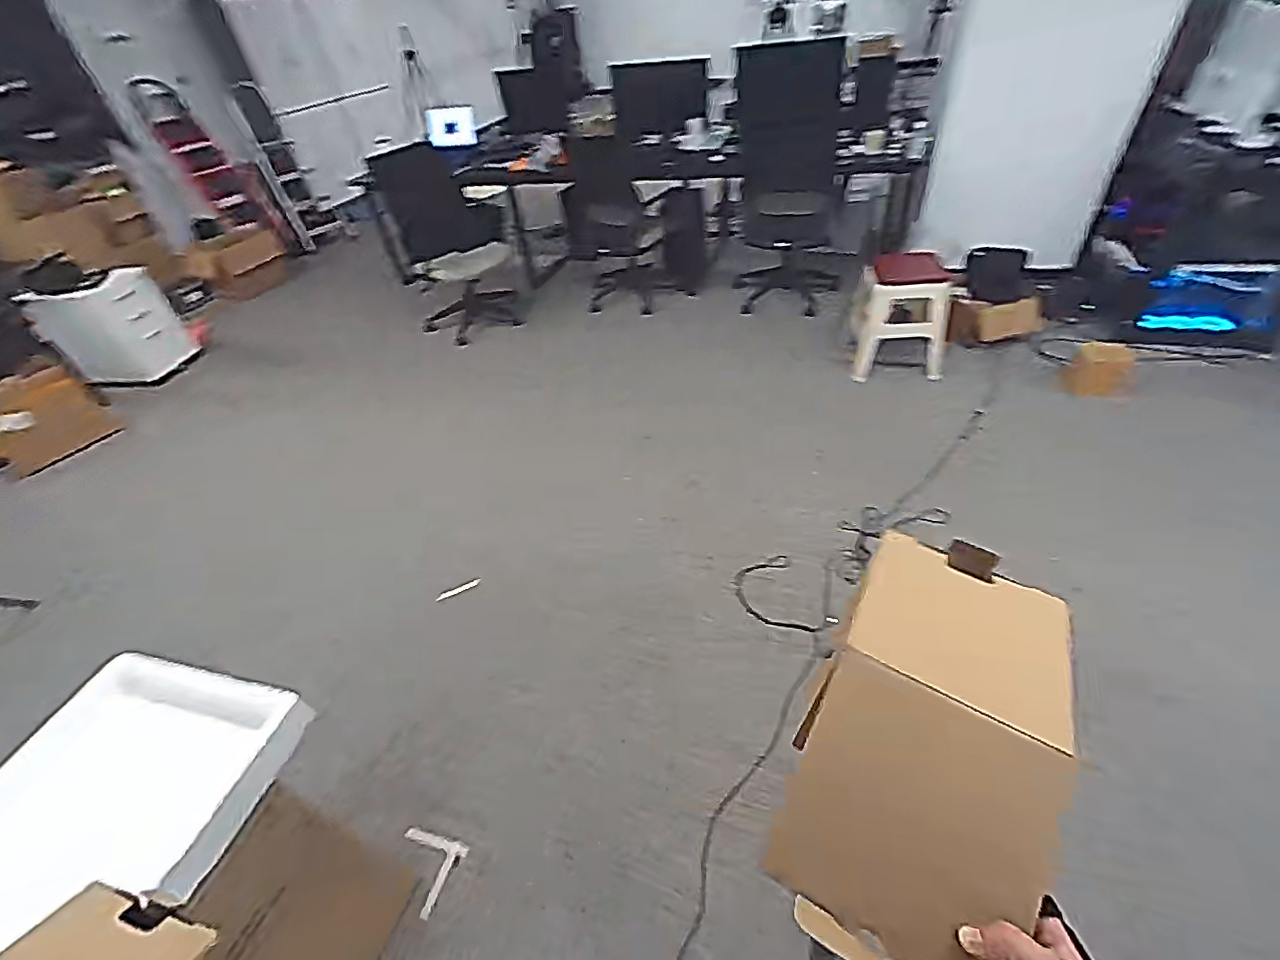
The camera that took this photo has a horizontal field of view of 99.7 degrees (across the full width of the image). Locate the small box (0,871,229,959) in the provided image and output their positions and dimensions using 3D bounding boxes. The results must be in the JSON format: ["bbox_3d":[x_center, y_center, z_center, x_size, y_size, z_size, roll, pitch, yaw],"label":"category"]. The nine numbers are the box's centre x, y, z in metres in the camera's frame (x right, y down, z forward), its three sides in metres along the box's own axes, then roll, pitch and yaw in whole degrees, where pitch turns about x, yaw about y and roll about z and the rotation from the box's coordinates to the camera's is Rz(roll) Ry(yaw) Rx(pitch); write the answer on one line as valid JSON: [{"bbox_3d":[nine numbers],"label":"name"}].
[{"bbox_3d":[-0.482,0.500,0.463,0.168,0.176,0.179,8,16,15],"label":"small box"}]
